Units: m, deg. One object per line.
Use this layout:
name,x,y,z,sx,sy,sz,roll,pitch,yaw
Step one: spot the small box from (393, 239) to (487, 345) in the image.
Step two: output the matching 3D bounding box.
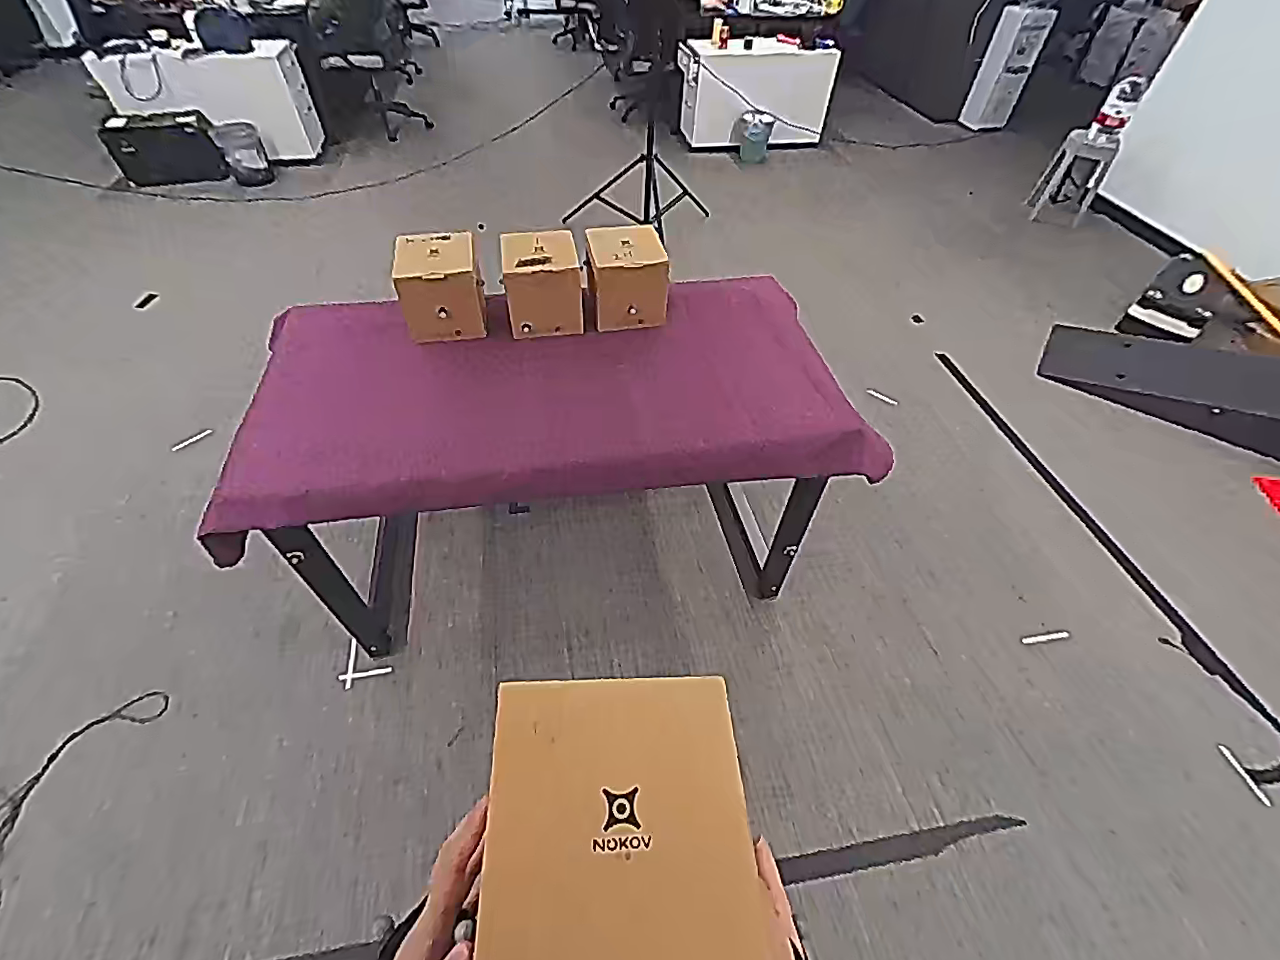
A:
small box,-0.448,-0.424,1.236,0.168,0.176,0.179,-8,53,-9

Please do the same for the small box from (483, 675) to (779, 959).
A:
small box,-0.019,0.263,0.399,0.168,0.176,0.179,1,49,-9
